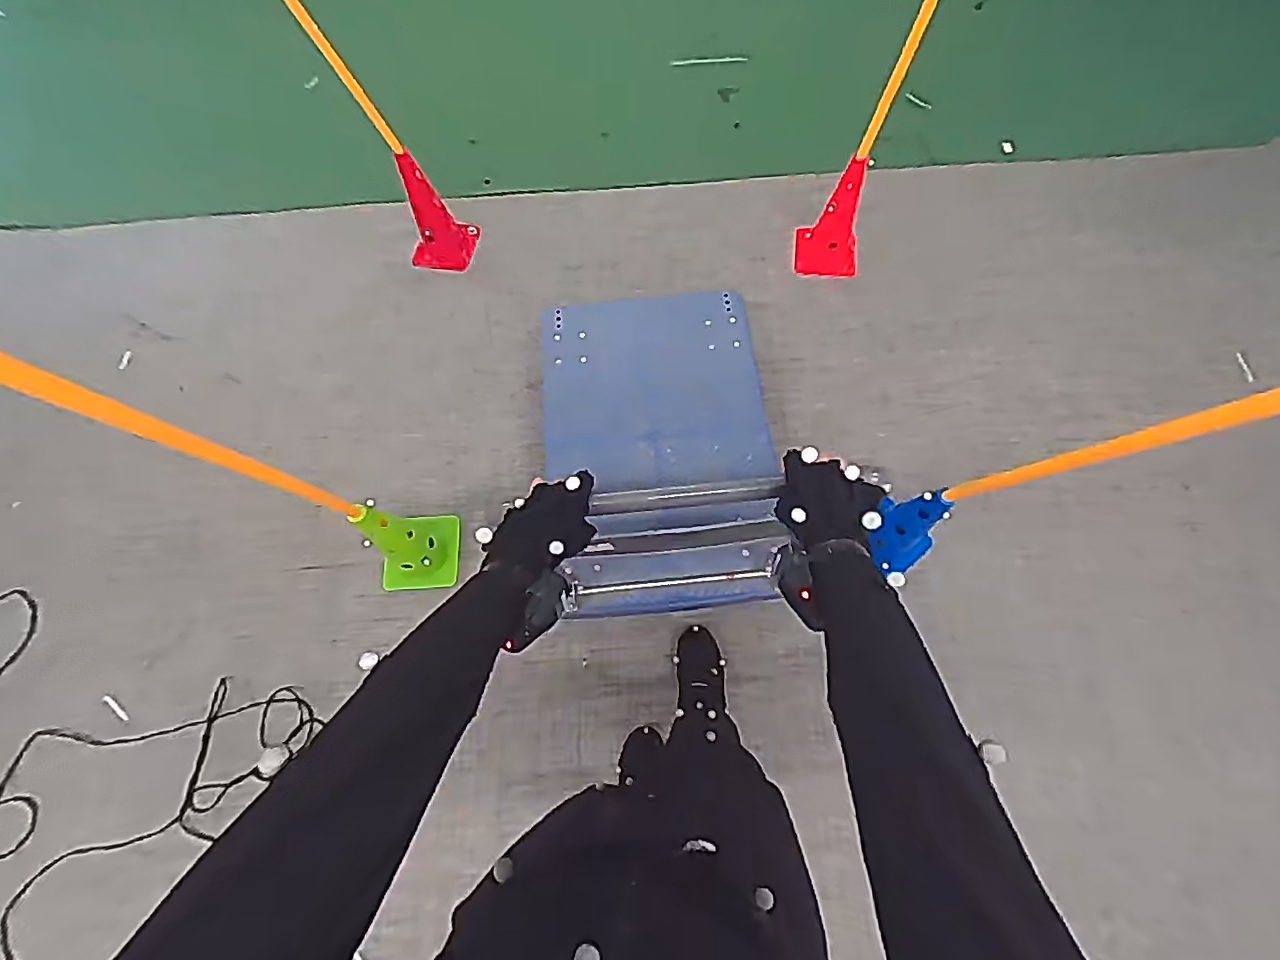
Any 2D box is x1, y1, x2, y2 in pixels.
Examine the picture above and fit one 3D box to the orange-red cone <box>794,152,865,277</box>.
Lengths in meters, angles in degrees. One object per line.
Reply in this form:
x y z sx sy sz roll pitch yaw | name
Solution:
0.604 -0.816 1.634 0.198 0.360 0.199 7 70 6 | orange-red cone
